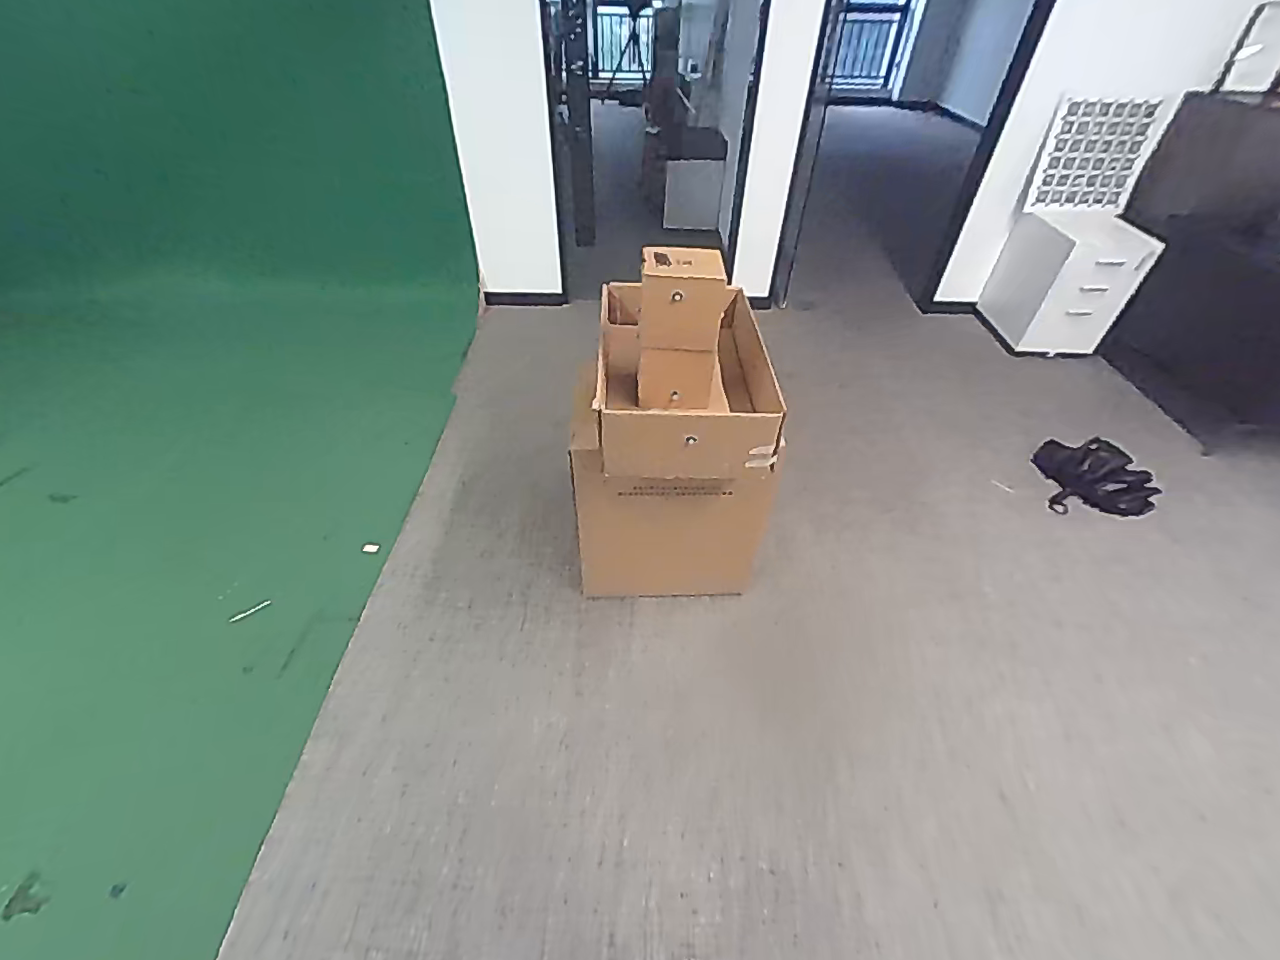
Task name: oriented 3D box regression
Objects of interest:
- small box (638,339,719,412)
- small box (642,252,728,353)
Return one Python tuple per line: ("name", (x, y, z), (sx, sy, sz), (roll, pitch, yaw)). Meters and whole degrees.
("small box", (0.089, -0.282, 1.340), (0.179, 0.176, 0.168), (1, 41, -3))
("small box", (0.096, -0.401, 1.226), (0.179, 0.176, 0.168), (3, 42, -1))
